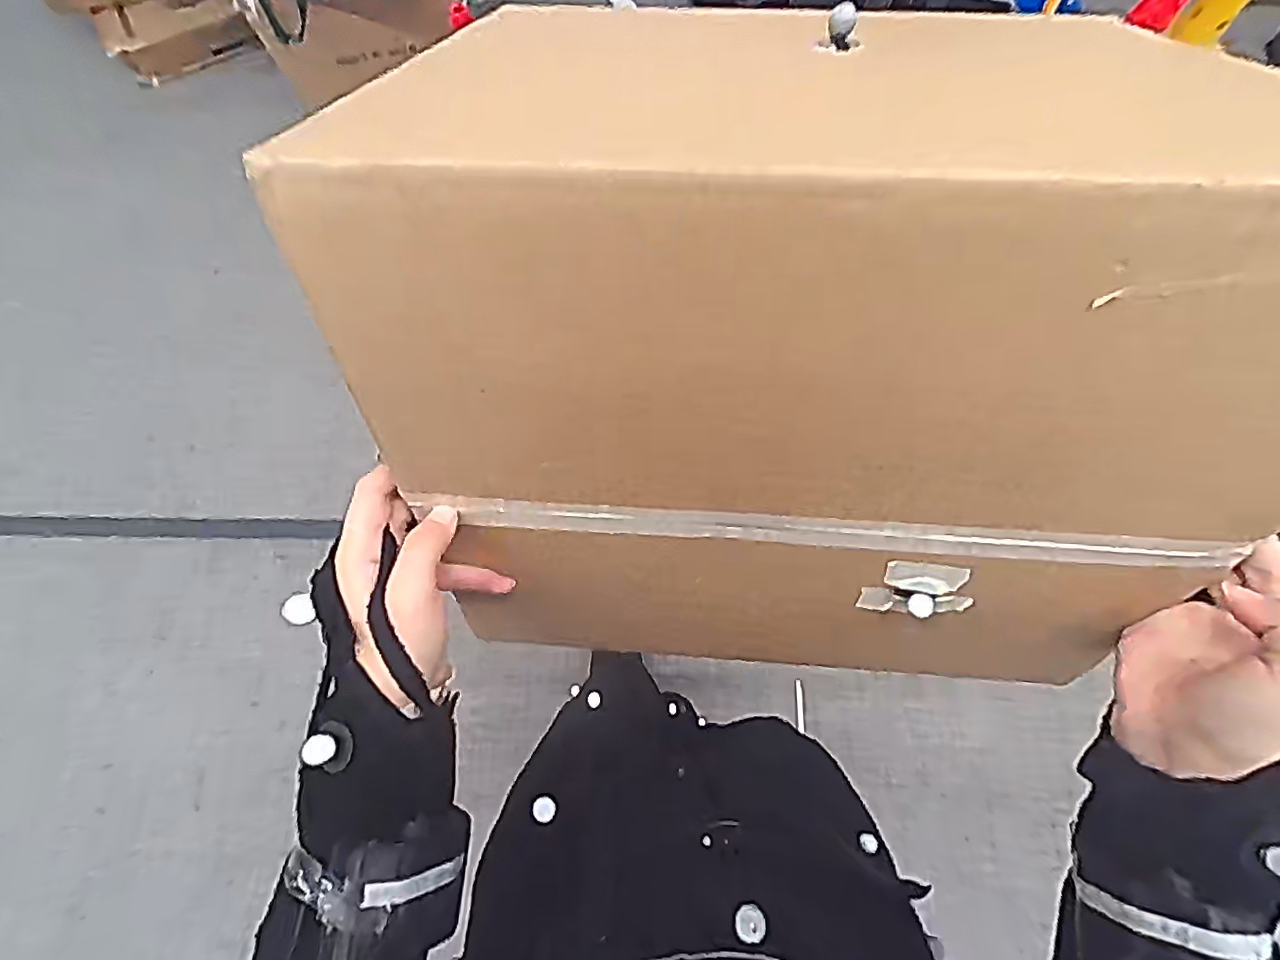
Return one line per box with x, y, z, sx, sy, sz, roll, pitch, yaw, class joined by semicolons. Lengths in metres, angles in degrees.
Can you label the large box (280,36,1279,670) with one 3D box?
0.086;-0.089;0.376;0.408;0.320;0.320;2;48;3;large box
